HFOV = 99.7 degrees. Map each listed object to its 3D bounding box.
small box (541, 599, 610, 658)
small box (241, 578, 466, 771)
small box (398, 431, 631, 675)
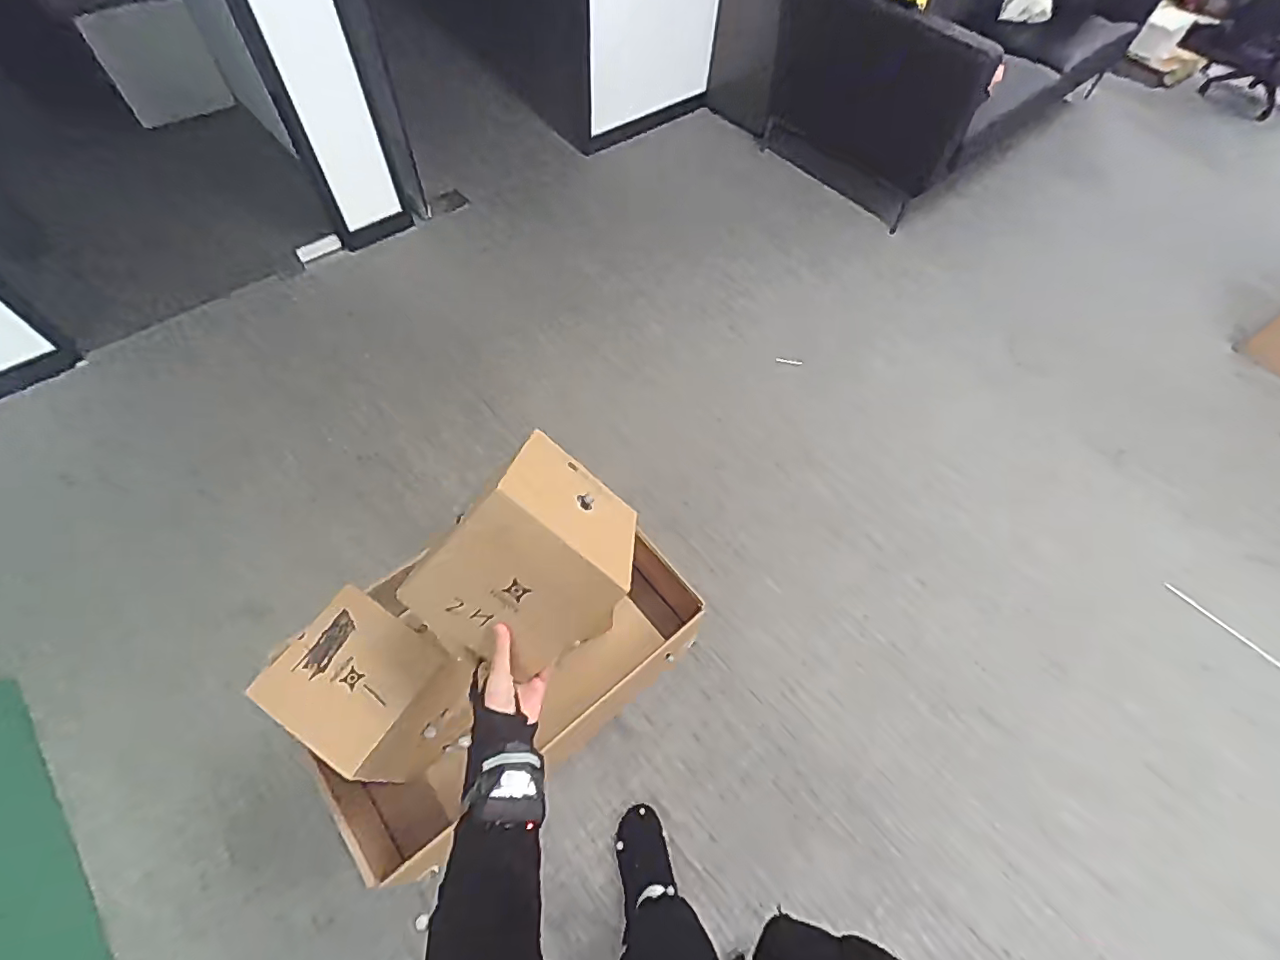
[{"bbox_3d":[-0.164,0.202,0.966,0.168,0.176,0.179,-25,65,-17],"label":"small box"},{"bbox_3d":[-0.363,0.266,0.721,0.179,0.176,0.168,31,63,12],"label":"small box"},{"bbox_3d":[-0.126,0.071,0.610,0.168,0.179,0.176,43,17,-14],"label":"small box"}]
